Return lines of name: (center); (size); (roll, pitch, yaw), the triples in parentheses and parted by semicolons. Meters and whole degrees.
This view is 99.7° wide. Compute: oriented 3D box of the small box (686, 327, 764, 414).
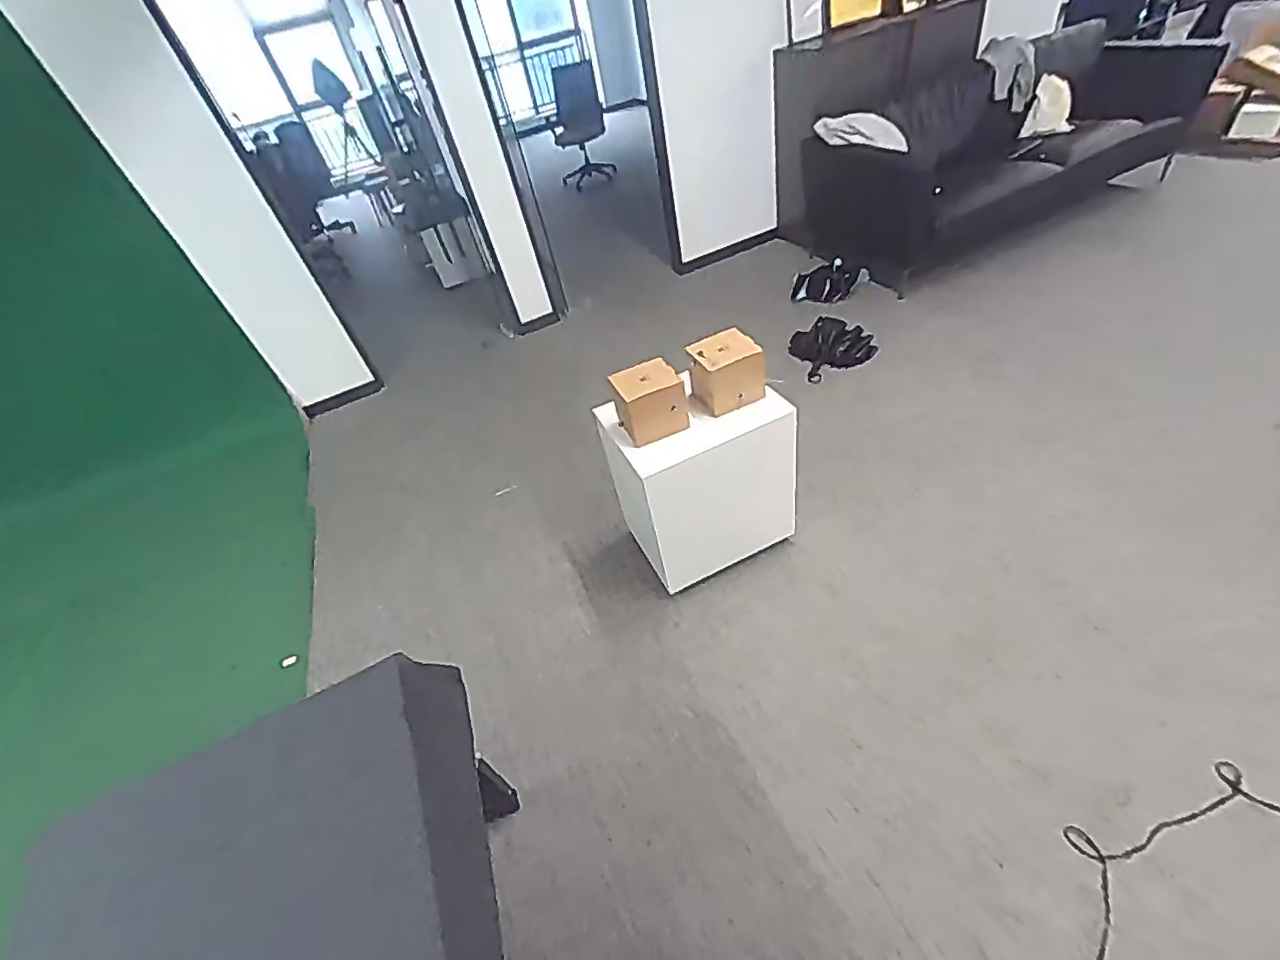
small box: (0.253, -0.326, 1.617); (0.179, 0.176, 0.168); (-22, 43, -10)

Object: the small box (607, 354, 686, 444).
small box: (0.025, -0.235, 1.577); (0.179, 0.176, 0.168); (-23, 43, -10)
